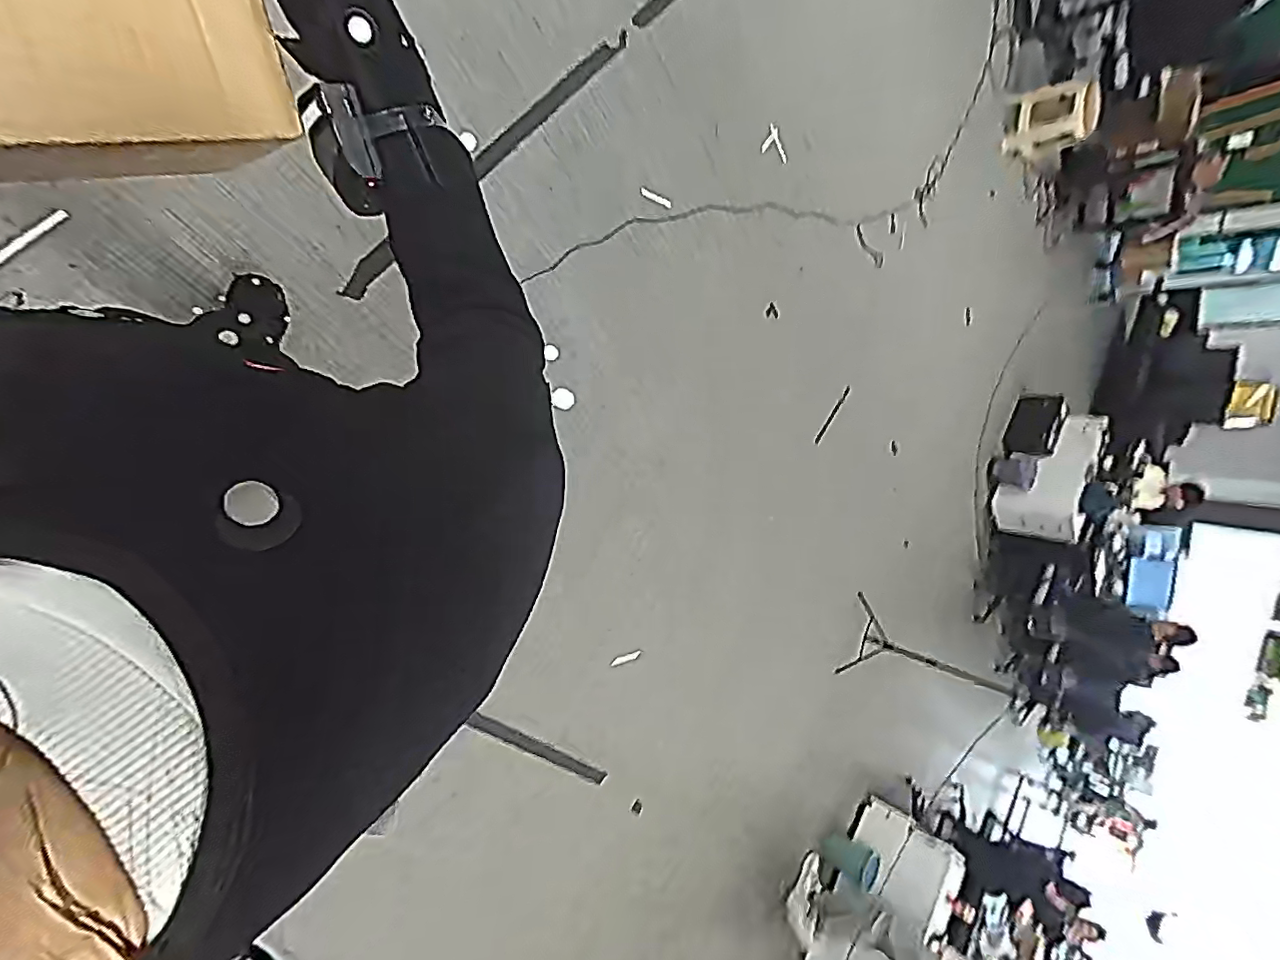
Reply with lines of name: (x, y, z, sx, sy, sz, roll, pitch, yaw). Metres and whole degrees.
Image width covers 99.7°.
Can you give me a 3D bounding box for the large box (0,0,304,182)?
large box: (-0.492, -0.345, 0.296, 0.408, 0.320, 0.320, -27, 127, -34)
